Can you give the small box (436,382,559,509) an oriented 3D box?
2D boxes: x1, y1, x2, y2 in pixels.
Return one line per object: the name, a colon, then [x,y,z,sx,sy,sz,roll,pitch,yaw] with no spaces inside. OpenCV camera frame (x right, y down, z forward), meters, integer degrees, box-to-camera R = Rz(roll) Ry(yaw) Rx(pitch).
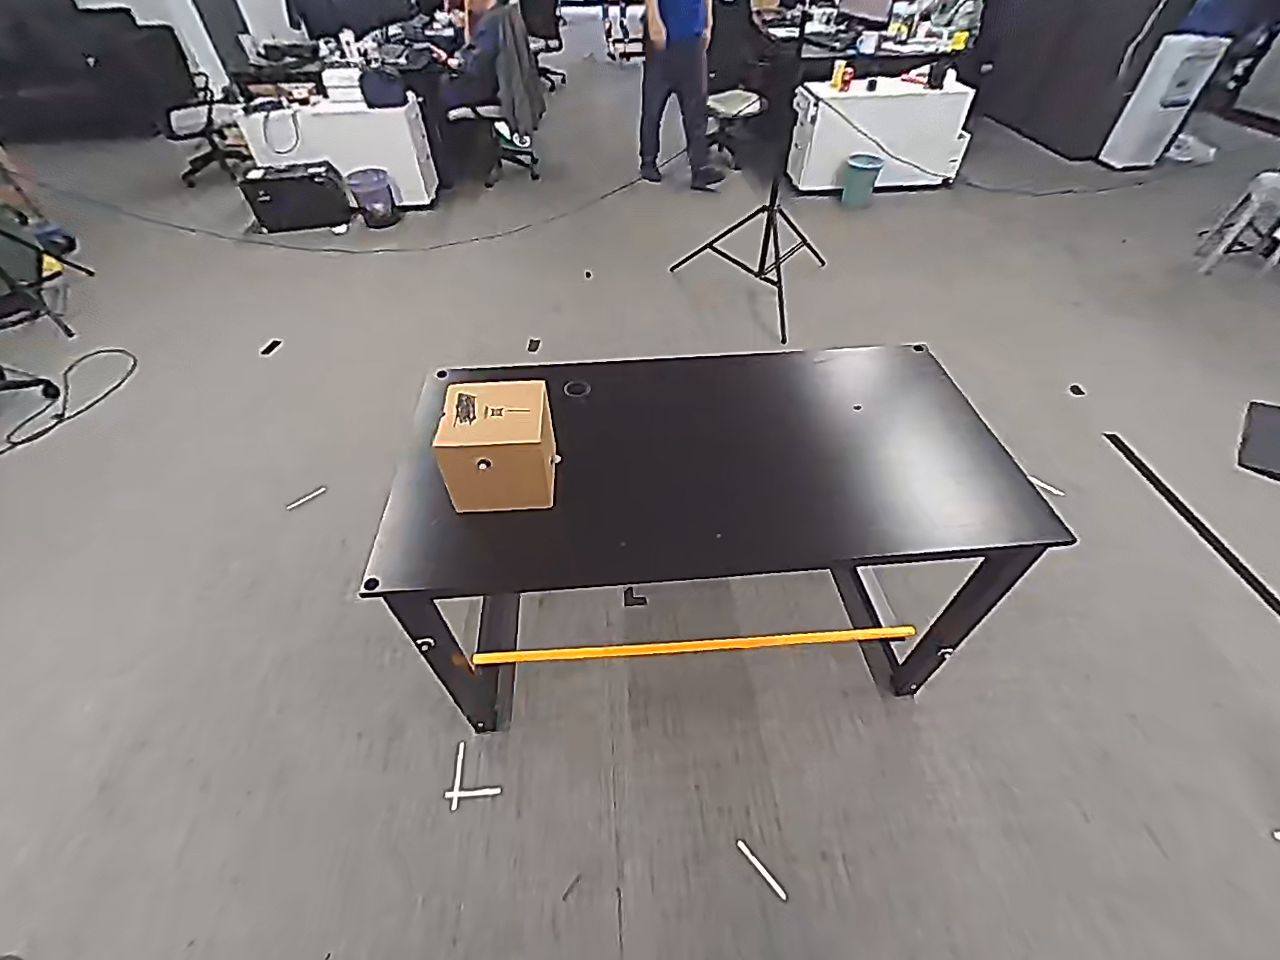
small box: [-0.248,-0.060,0.987,0.179,0.176,0.168,-2,48,-3]
